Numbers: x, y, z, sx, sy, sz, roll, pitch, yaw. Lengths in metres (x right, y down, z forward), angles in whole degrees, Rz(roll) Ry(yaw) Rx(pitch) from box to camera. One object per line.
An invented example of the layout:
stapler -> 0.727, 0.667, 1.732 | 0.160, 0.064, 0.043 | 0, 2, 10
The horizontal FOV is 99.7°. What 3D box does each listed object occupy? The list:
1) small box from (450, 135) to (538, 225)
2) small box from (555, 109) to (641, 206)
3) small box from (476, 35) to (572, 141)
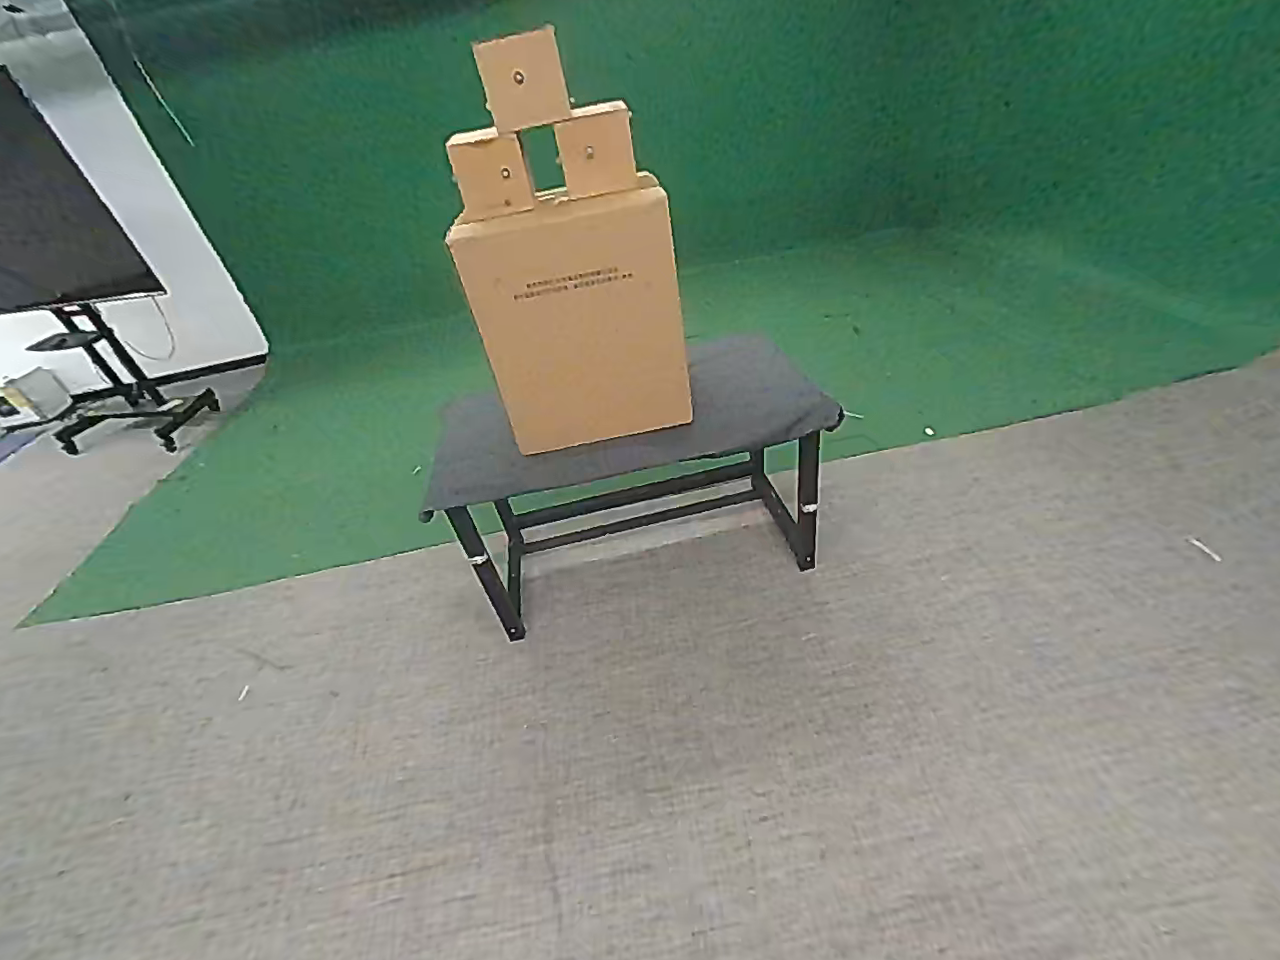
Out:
small box -> -0.355, -0.751, 1.352 | 0.168, 0.176, 0.179 | -11, 38, -1
small box -> -0.104, -0.804, 1.351 | 0.179, 0.176, 0.168 | -11, 40, 2
small box -> -0.258, -0.902, 1.247 | 0.179, 0.176, 0.168 | -13, 39, 1
